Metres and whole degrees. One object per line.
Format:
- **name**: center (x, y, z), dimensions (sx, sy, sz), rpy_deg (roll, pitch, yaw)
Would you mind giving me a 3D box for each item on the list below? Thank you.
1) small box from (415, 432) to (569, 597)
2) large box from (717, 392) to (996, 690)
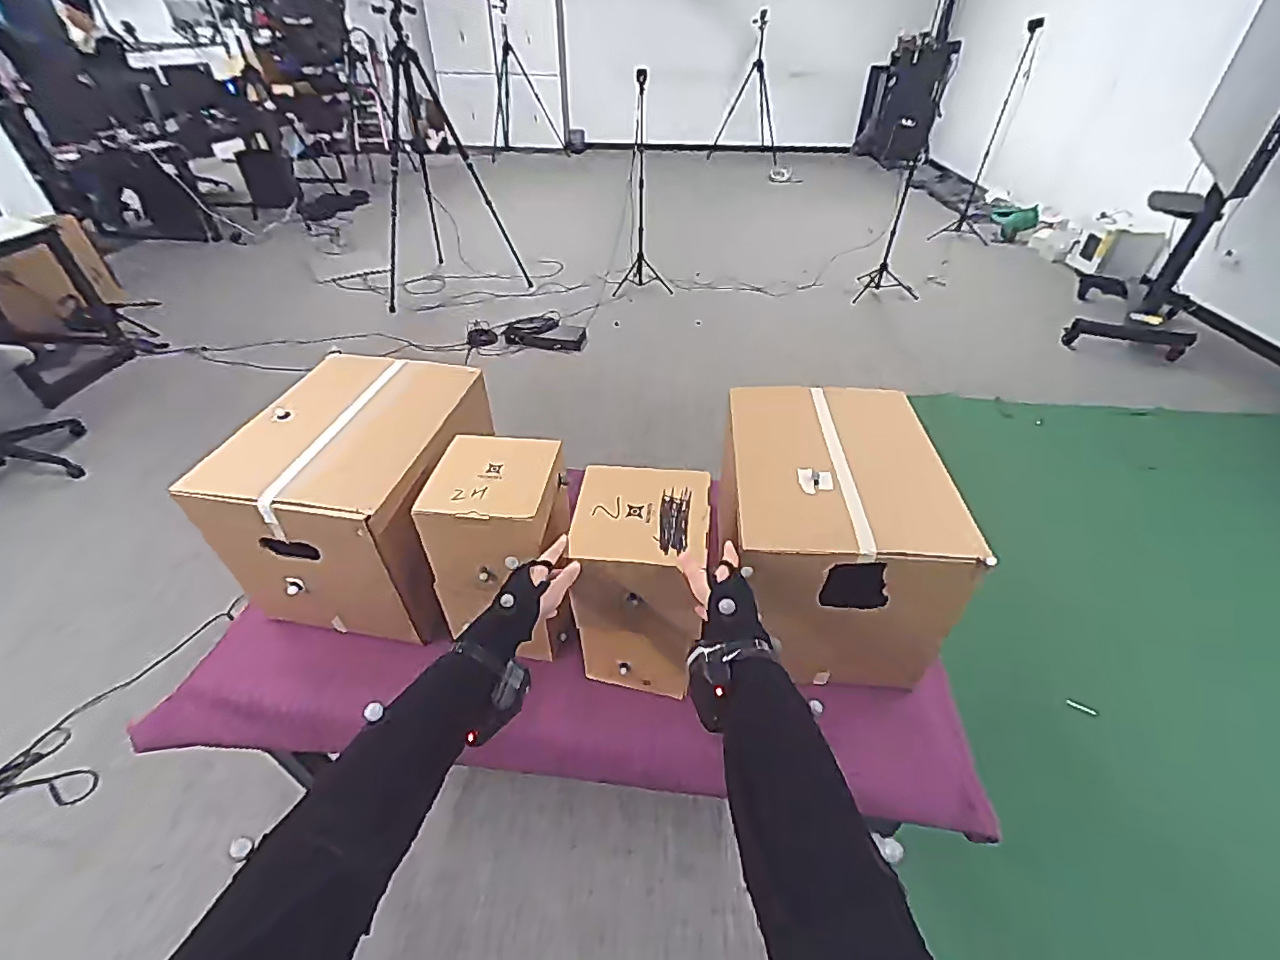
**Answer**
- **small box**: center (-0.205, 0.049, 0.810), dimensions (0.168, 0.176, 0.179), rpy_deg (4, 40, 5)
- **large box**: center (0.304, 0.088, 0.922), dimensions (0.320, 0.320, 0.408), rpy_deg (2, 41, 5)
